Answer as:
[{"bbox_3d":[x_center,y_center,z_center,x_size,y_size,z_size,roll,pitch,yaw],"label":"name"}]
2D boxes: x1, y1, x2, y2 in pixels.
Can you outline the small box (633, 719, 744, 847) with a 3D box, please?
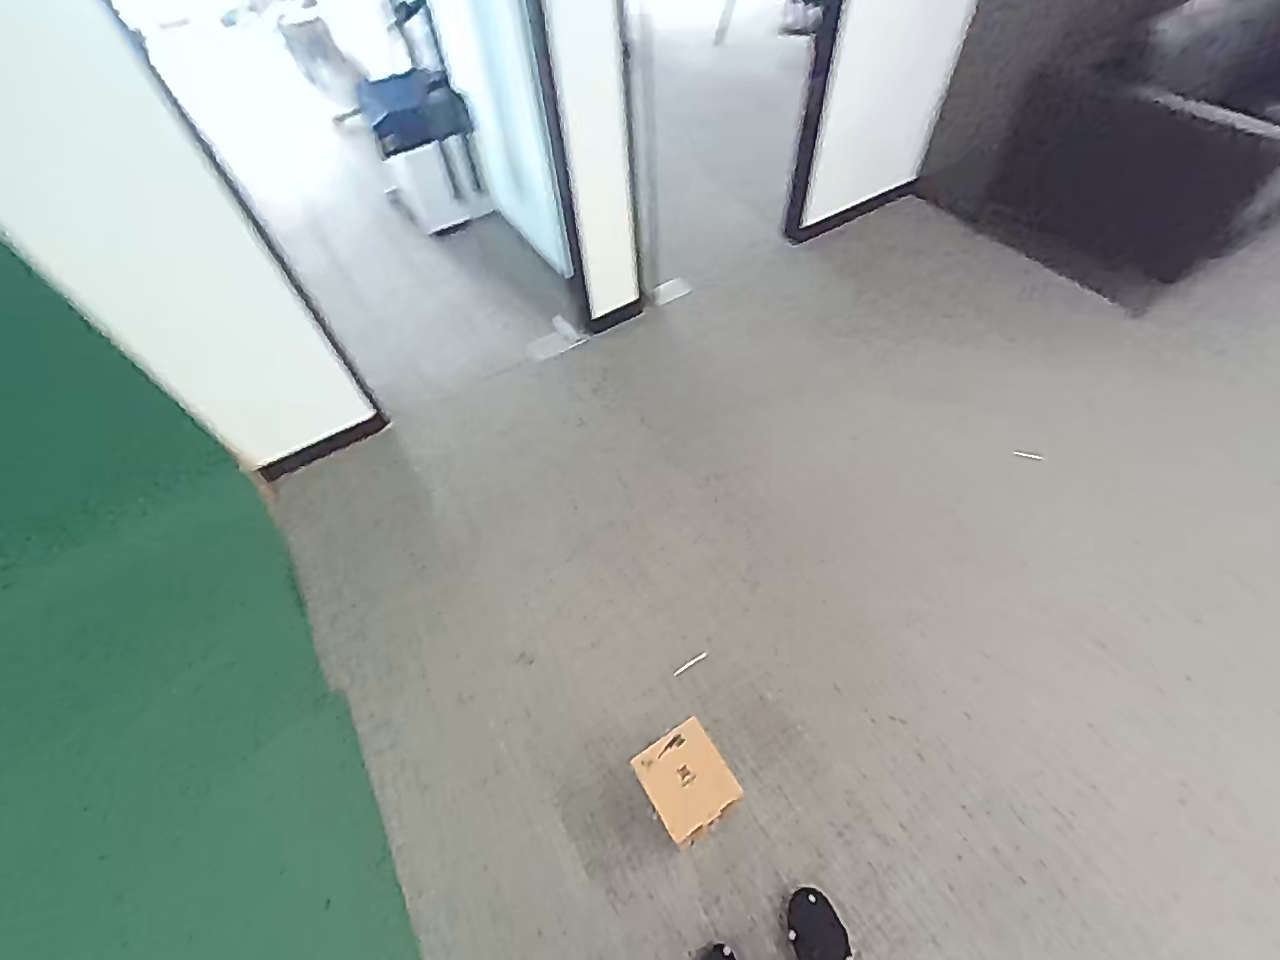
[{"bbox_3d":[0.102,0.651,1.162,0.168,0.176,0.179,-29,57,-16],"label":"small box"}]
